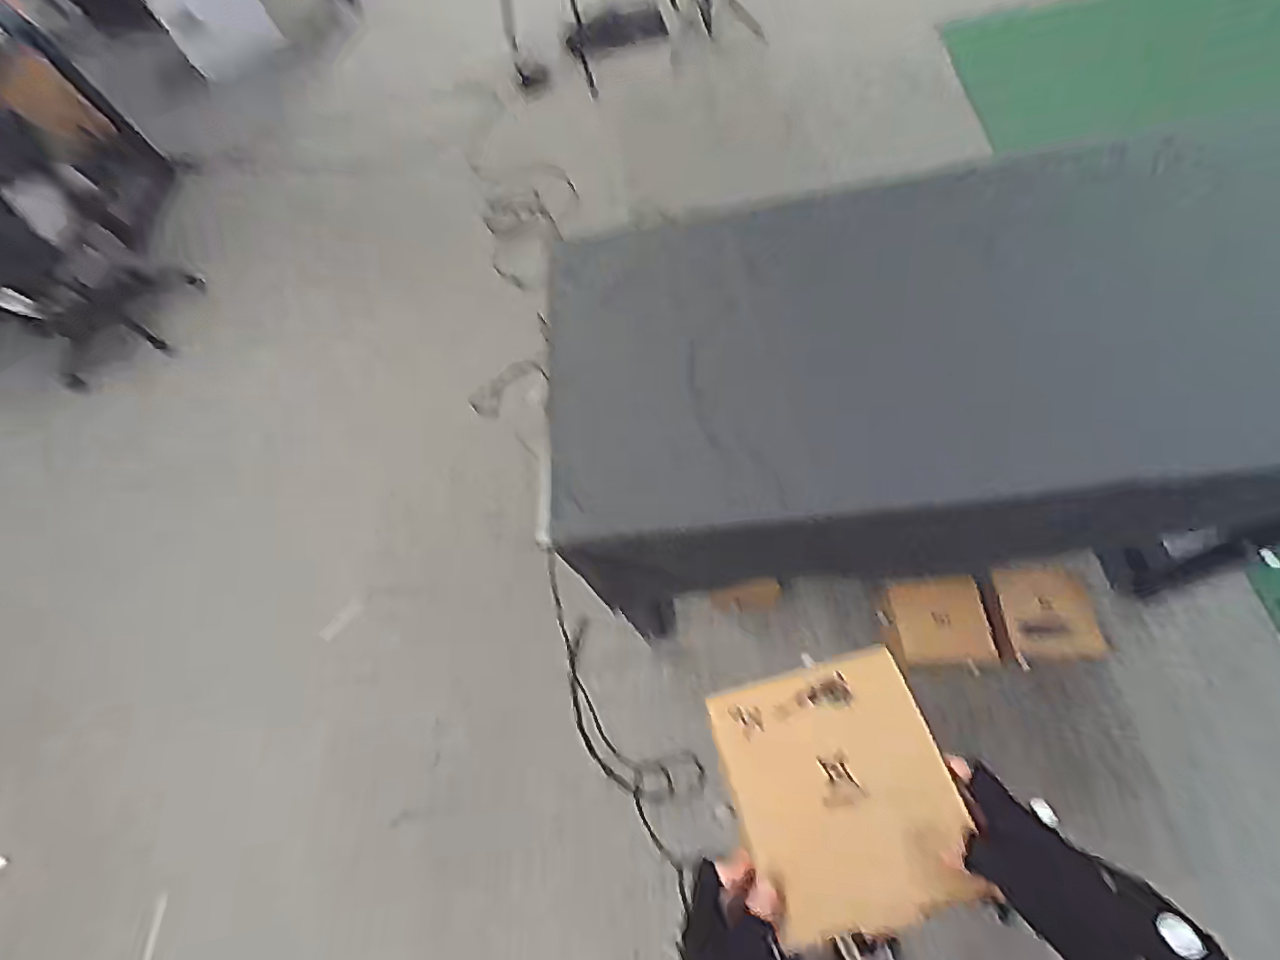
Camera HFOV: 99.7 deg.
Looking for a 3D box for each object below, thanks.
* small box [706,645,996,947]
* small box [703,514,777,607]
[{"bbox_3d":[0.163,0.271,0.487,0.168,0.176,0.179,-15,60,-2],"label":"small box"},{"bbox_3d":[0.244,0.196,1.313,0.168,0.176,0.179,0,62,12],"label":"small box"}]
